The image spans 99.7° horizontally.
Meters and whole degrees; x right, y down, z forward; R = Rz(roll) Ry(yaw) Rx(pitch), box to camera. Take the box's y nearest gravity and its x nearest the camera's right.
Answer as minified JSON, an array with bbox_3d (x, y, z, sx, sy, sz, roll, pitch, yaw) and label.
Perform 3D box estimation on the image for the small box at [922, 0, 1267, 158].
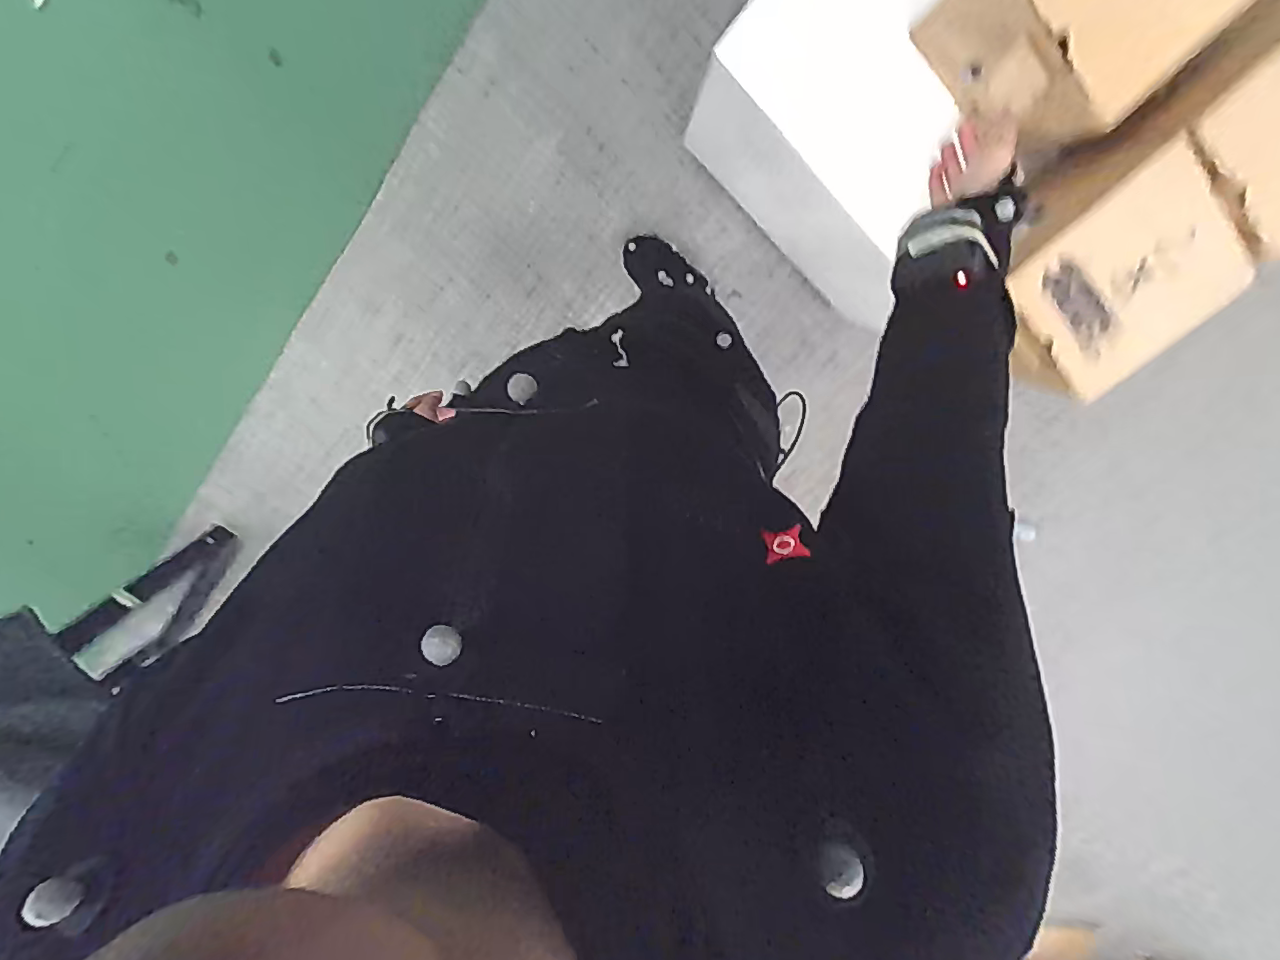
[{"bbox_3d":[0.403,-0.432,0.488,0.168,0.176,0.179,41,108,-15],"label":"small box"}]
